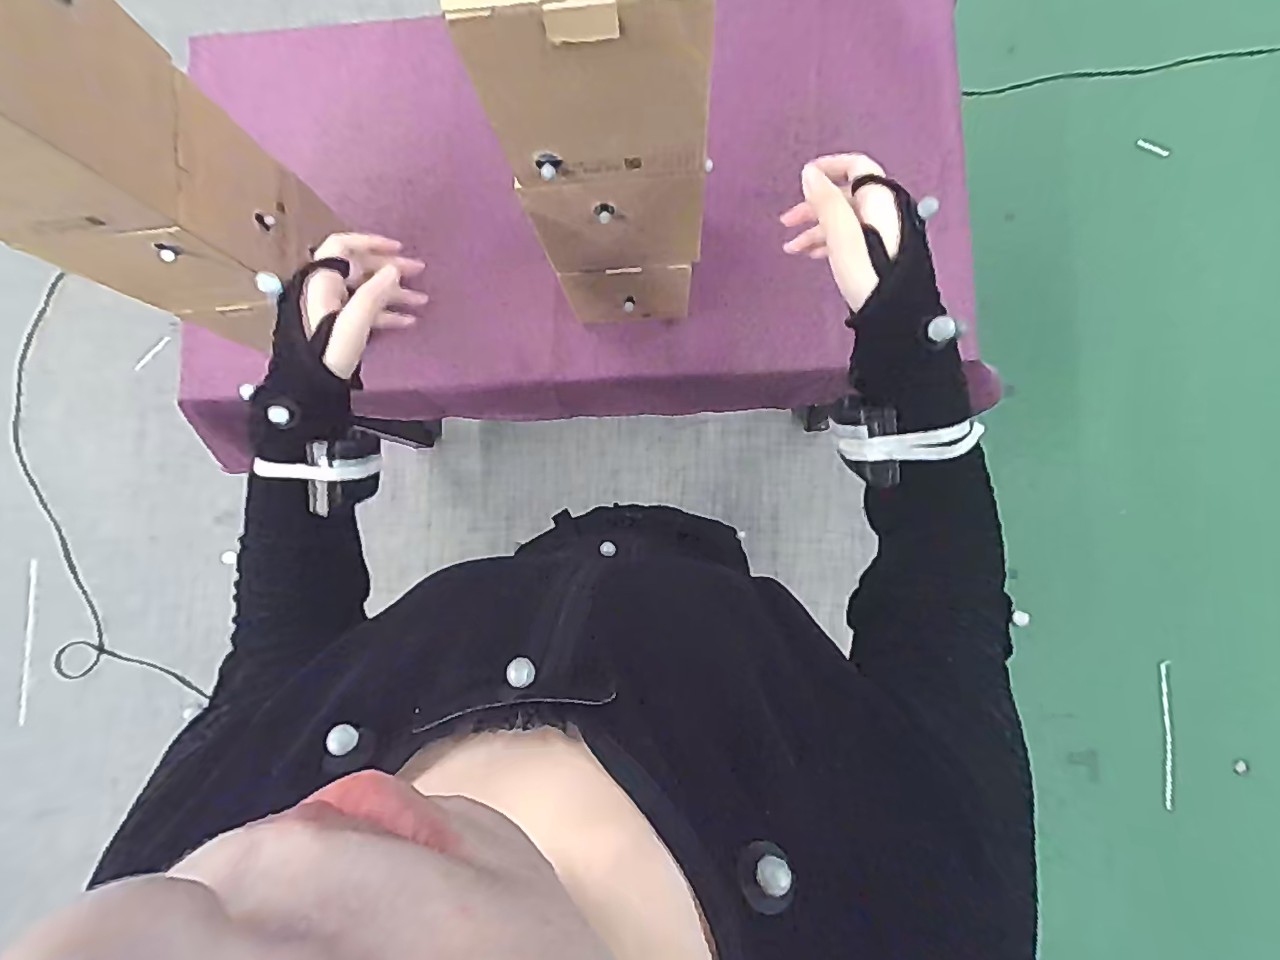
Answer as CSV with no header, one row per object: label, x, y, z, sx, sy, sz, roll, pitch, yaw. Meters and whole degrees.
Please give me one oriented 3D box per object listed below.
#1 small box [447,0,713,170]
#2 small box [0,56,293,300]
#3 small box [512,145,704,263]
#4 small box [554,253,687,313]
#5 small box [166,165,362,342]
small box,-0.033,-0.360,0.404,0.168,0.176,0.179,-3,85,2
small box,-0.520,-0.311,0.592,0.179,0.176,0.168,-5,86,1
small box,-0.027,-0.344,0.568,0.179,0.176,0.168,-2,87,2
small box,-0.021,-0.335,0.733,0.168,0.176,0.179,-2,87,2
small box,-0.509,-0.300,0.753,0.168,0.176,0.179,-3,86,1
